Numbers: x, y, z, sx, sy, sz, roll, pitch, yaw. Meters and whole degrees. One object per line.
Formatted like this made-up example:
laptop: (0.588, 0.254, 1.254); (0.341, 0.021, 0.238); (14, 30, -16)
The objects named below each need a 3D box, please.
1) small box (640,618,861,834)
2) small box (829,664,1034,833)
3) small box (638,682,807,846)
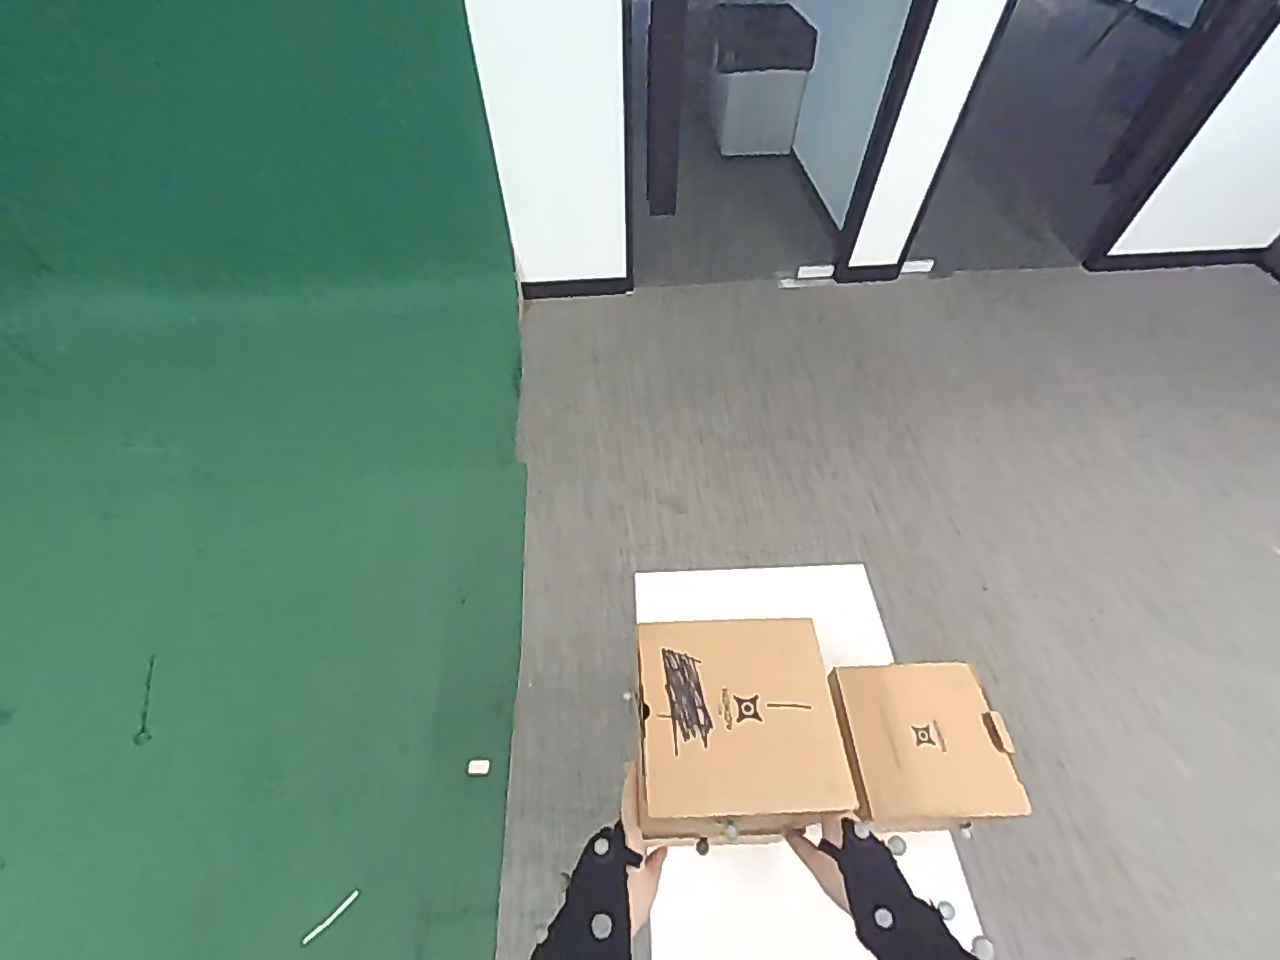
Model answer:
small box: (0.088, 0.250, 0.543); (0.179, 0.176, 0.168); (-1, 54, -3)
small box: (0.333, 0.342, 0.684); (0.179, 0.176, 0.168); (-2, 53, 0)
small box: (0.087, 0.352, 0.673); (0.179, 0.176, 0.168); (-1, 54, -2)
